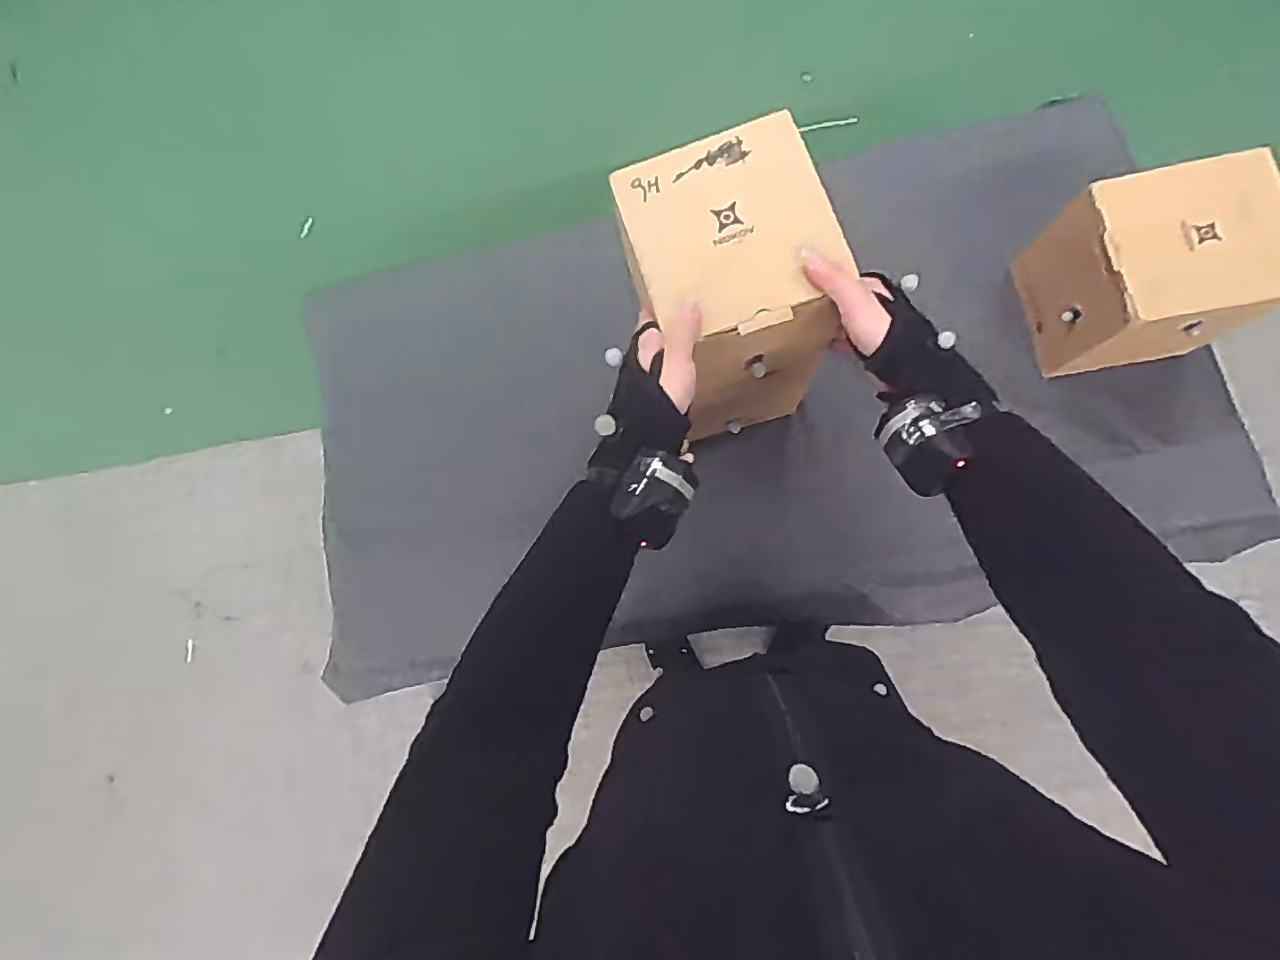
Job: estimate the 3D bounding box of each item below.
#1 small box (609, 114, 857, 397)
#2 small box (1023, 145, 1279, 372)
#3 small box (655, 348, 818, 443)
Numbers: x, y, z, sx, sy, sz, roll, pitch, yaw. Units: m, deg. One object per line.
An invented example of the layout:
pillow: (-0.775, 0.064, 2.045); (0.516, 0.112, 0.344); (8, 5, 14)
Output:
small box: (0.084, -0.195, 0.529); (0.168, 0.176, 0.179); (-18, 79, 4)
small box: (0.588, -0.241, 0.631); (0.179, 0.176, 0.168); (-10, 80, 6)
small box: (0.106, -0.165, 0.687); (0.168, 0.176, 0.179); (-15, 79, 5)
